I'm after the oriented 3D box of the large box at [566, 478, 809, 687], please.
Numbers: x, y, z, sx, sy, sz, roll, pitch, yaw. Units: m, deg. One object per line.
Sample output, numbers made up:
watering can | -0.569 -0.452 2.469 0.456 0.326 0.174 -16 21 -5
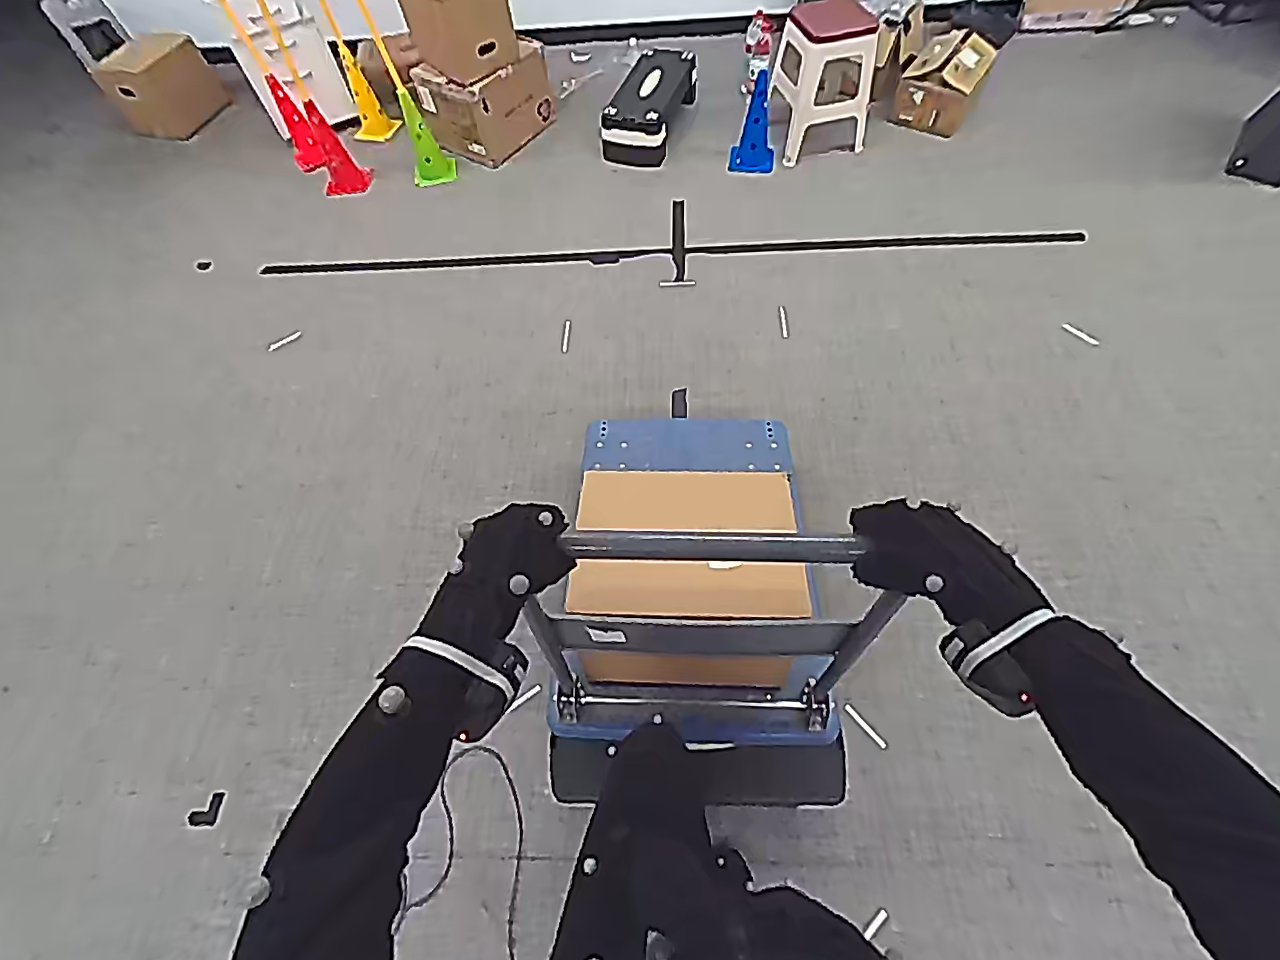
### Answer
large box | 0.081 0.209 1.083 0.408 0.320 0.320 1 50 3
